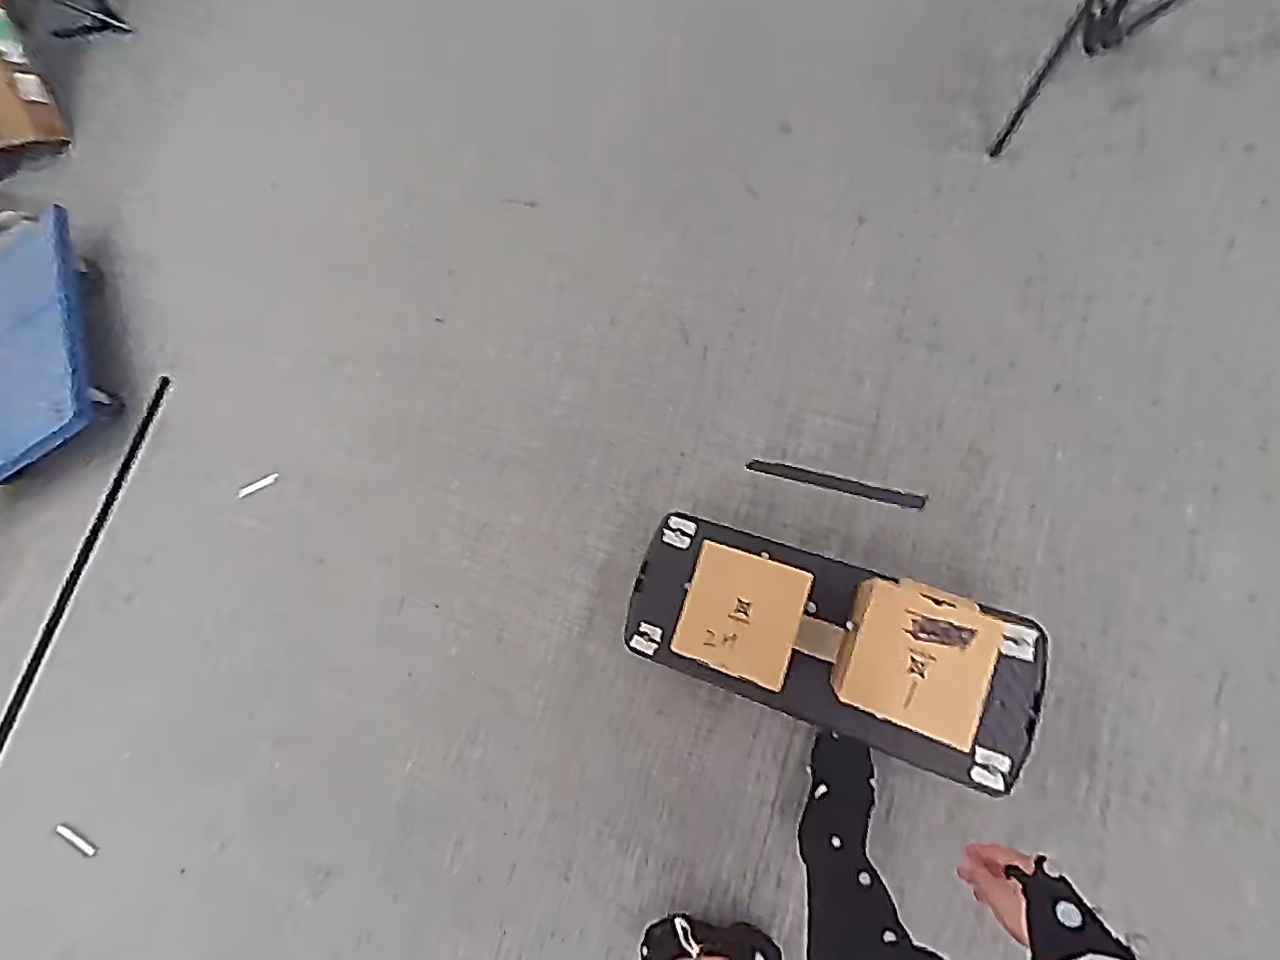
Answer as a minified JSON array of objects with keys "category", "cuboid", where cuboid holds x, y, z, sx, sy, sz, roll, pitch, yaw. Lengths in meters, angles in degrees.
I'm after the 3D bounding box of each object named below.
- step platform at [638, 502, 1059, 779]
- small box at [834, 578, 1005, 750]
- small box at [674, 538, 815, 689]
[{"category":"step platform","cuboid":[0.343,0.263,0.994,0.684,0.204,0.286,16,82,18]},{"category":"small box","cuboid":[0.396,0.257,0.798,0.168,0.176,0.179,19,84,18]},{"category":"small box","cuboid":[0.170,0.208,0.867,0.168,0.176,0.179,17,83,18]}]
